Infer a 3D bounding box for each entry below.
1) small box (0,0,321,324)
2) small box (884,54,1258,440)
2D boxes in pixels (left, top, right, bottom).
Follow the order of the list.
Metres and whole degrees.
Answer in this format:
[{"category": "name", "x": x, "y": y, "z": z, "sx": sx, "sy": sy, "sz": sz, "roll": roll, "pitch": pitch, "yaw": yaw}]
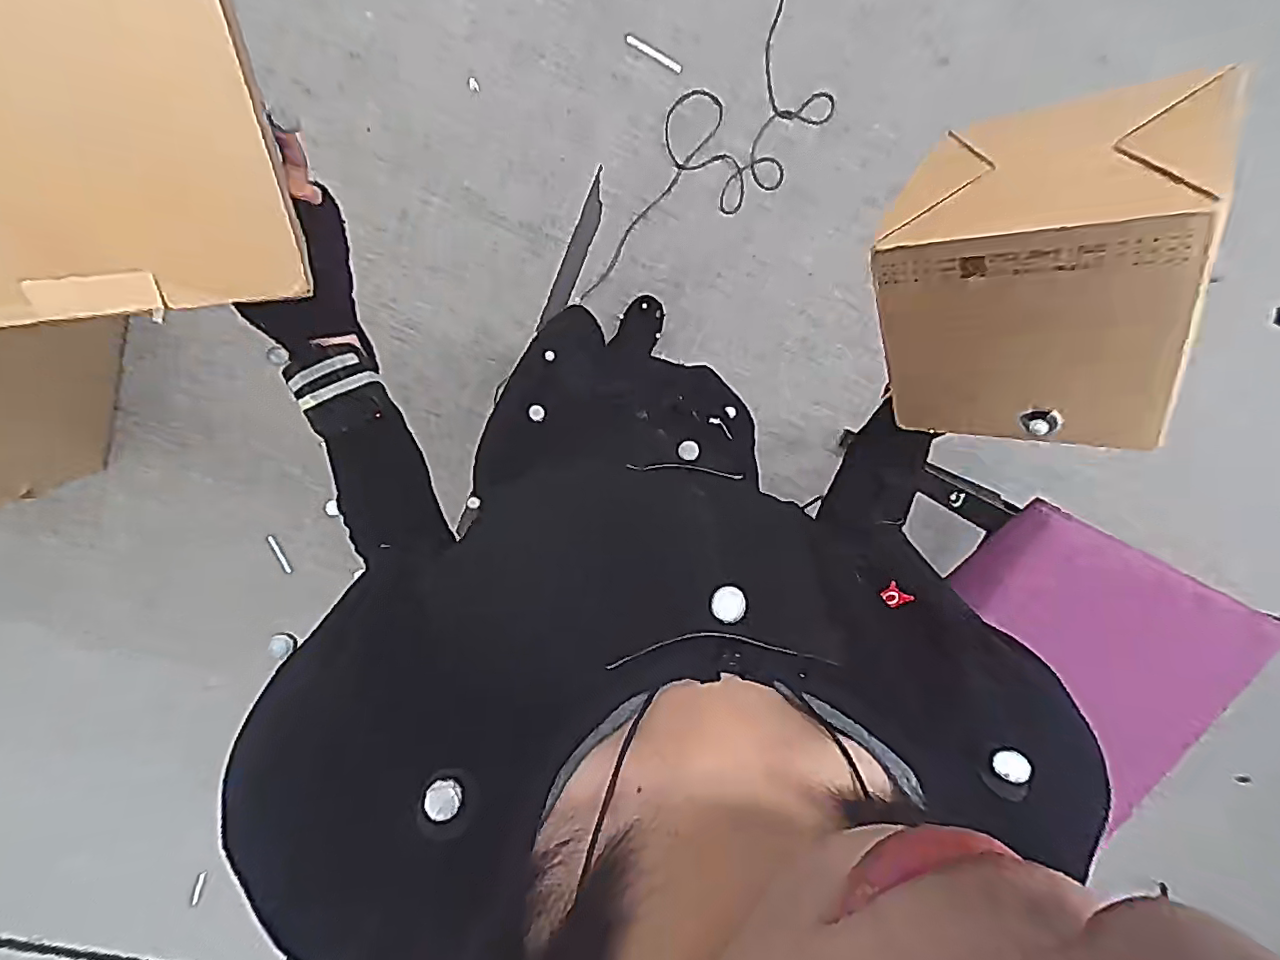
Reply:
[{"category": "small box", "x": -0.275, "y": -0.188, "z": 0.265, "sx": 0.168, "sy": 0.179, "sz": 0.176, "roll": -15, "pitch": 127, "yaw": -23}, {"category": "small box", "x": 0.291, "y": -0.155, "z": 0.381, "sx": 0.179, "sy": 0.168, "sz": 0.176, "roll": -54, "pitch": 133, "yaw": -25}]
